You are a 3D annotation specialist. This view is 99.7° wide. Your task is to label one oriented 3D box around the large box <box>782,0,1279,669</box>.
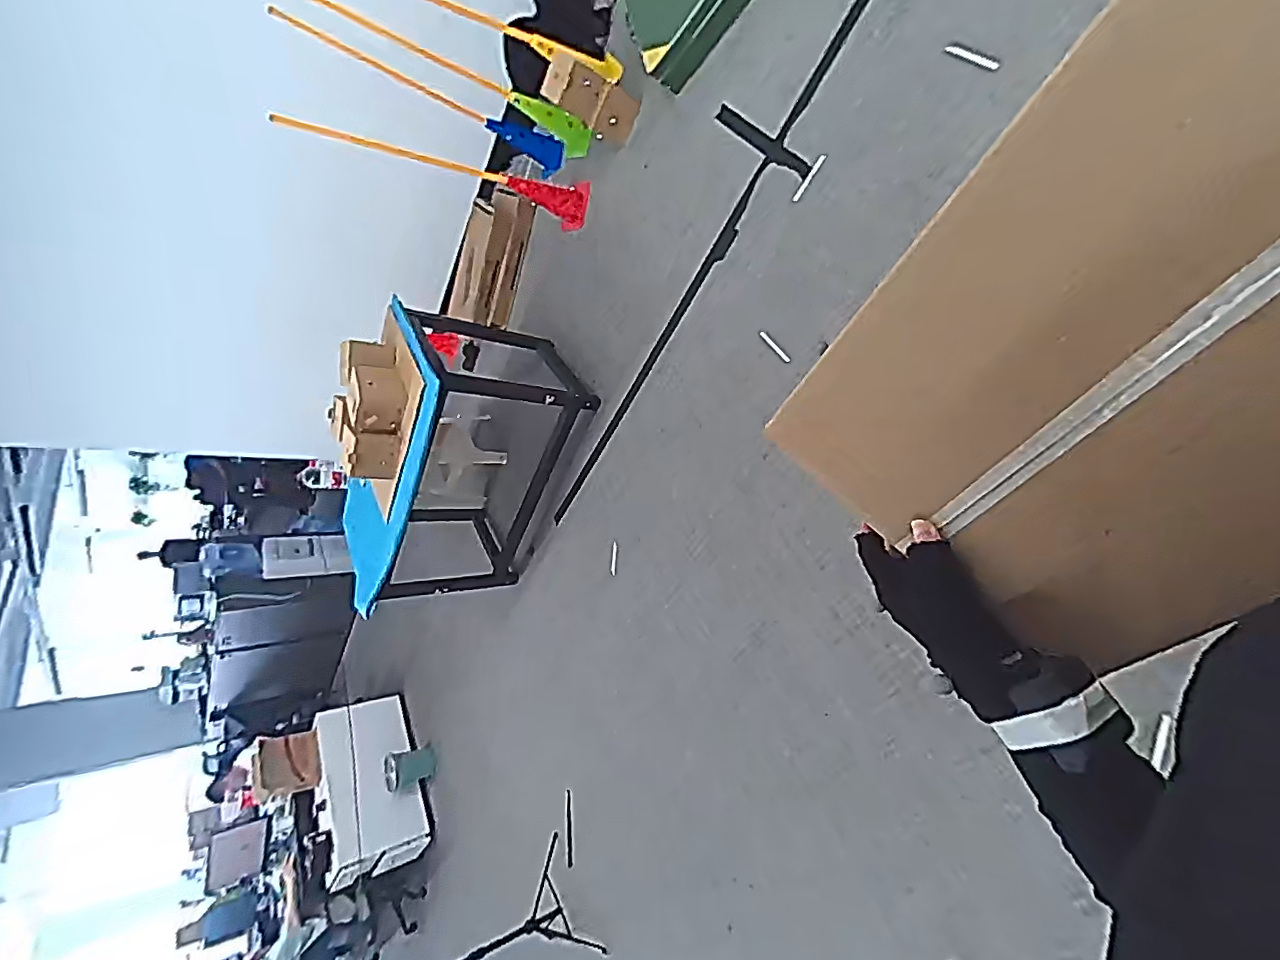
[{"bbox_3d":[0.398,-0.130,0.449,0.320,0.320,0.408,43,131,11],"label":"large box"}]
